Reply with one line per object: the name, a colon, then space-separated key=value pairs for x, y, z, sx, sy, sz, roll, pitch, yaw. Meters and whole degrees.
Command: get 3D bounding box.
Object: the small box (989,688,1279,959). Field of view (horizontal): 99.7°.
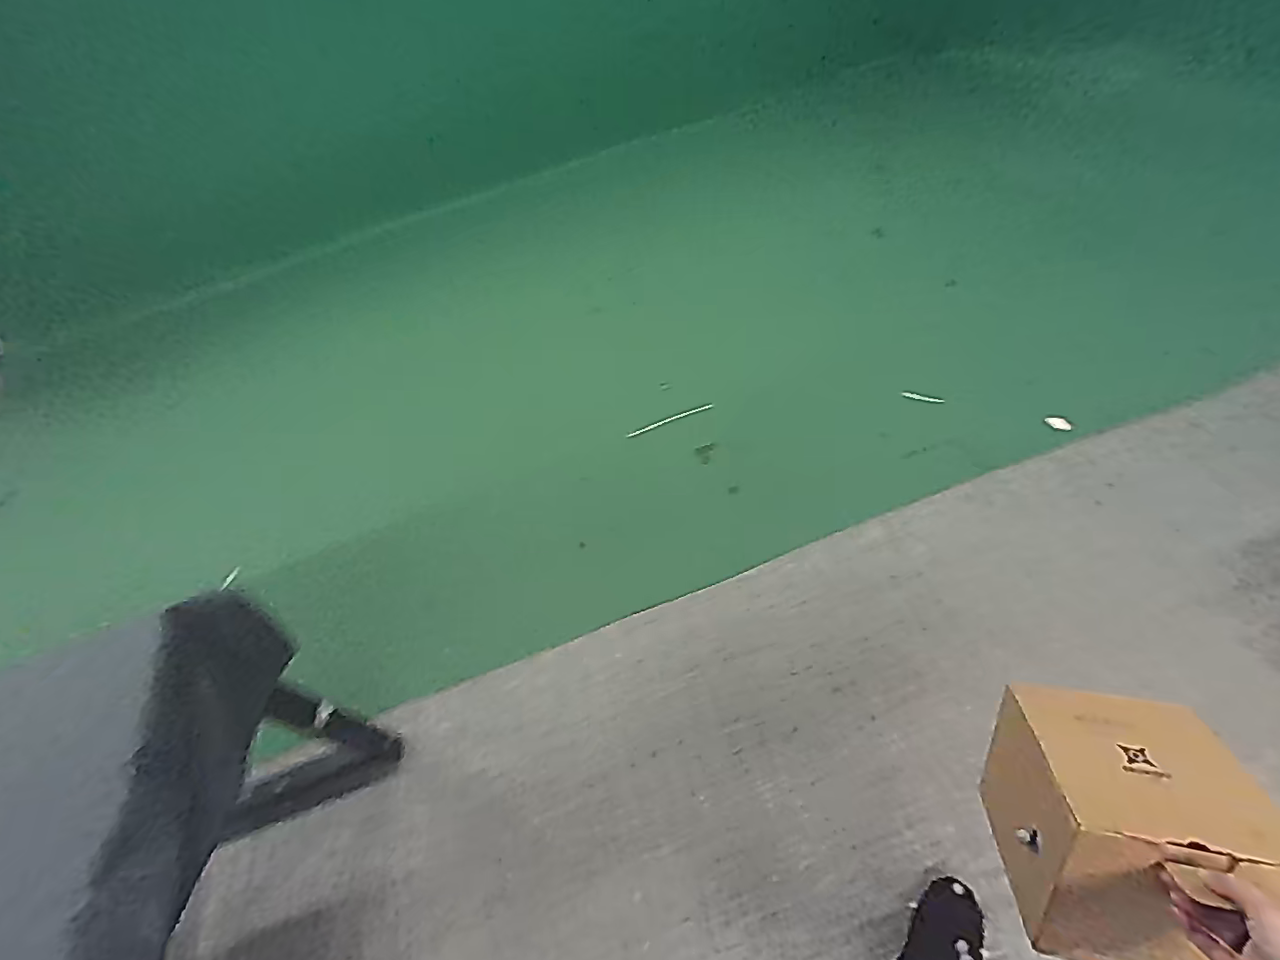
small box: x=0.463 y=0.337 z=0.516 sx=0.168 sy=0.176 sz=0.179 roll=5 pitch=21 yaw=15
